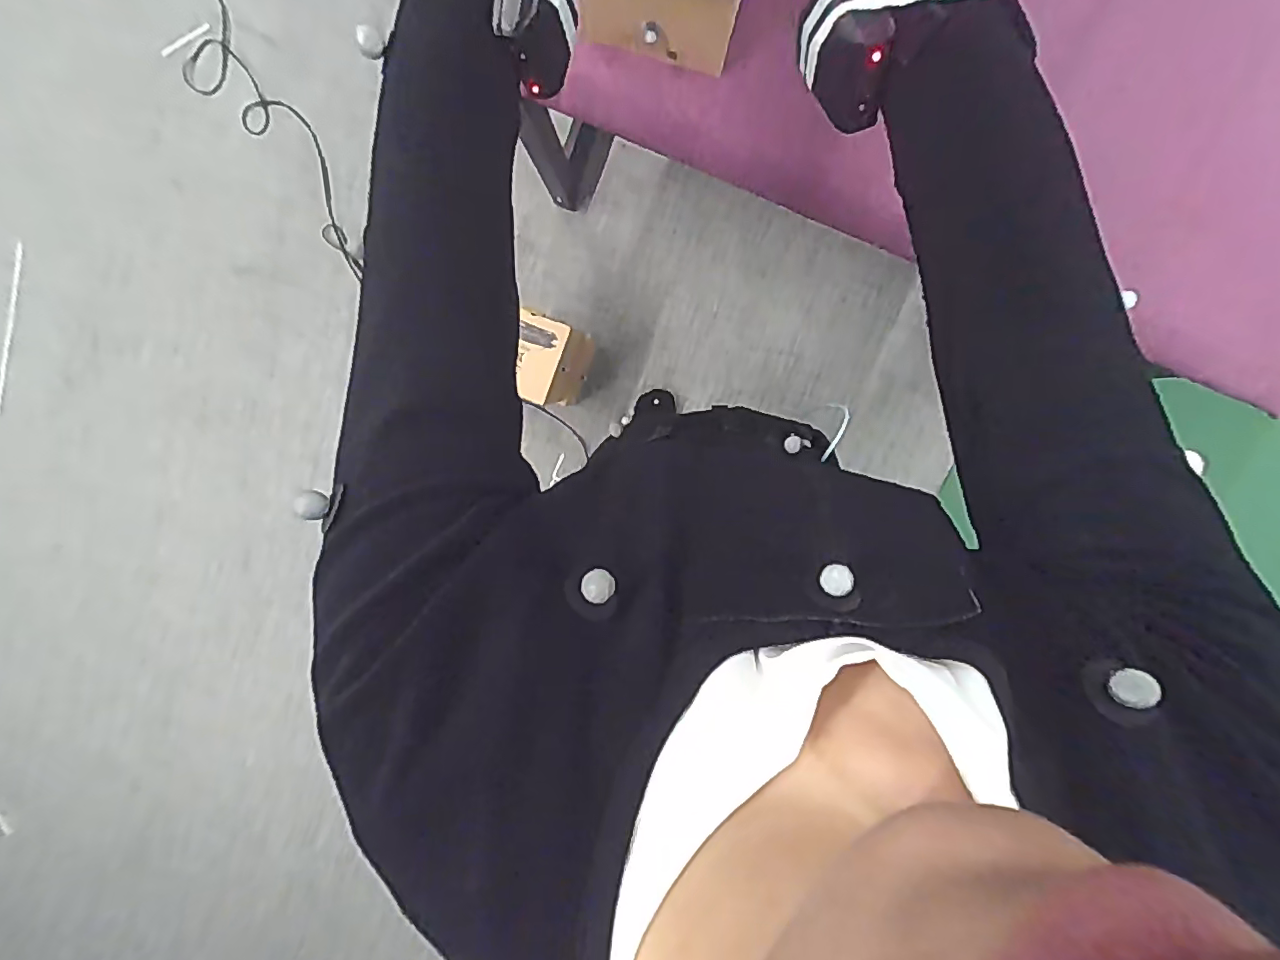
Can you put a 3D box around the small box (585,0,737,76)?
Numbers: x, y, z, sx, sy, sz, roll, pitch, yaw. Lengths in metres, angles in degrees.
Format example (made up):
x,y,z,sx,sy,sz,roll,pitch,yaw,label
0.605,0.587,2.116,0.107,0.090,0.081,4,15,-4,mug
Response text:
x,y,z,sx,sy,sz,roll,pitch,yaw,label
0.035,-0.584,0.568,0.168,0.176,0.179,16,98,-2,small box
